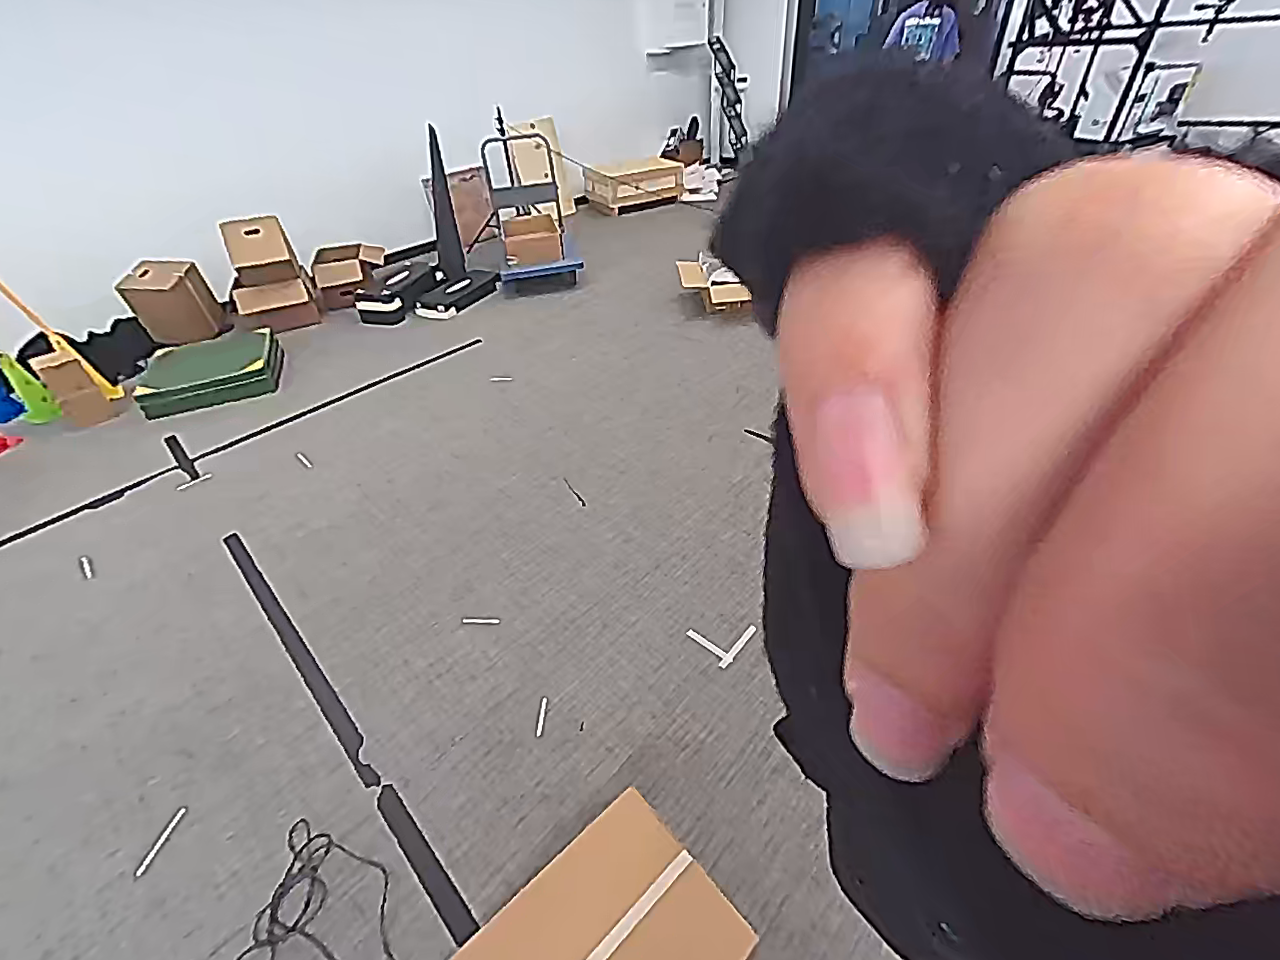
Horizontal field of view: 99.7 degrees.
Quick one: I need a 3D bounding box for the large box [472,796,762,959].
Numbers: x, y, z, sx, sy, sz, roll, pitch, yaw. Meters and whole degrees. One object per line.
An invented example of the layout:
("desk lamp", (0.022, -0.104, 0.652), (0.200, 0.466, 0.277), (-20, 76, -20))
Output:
("large box", (-0.040, 0.868, 0.933), (0.408, 0.320, 0.320), (-32, 45, -29))
